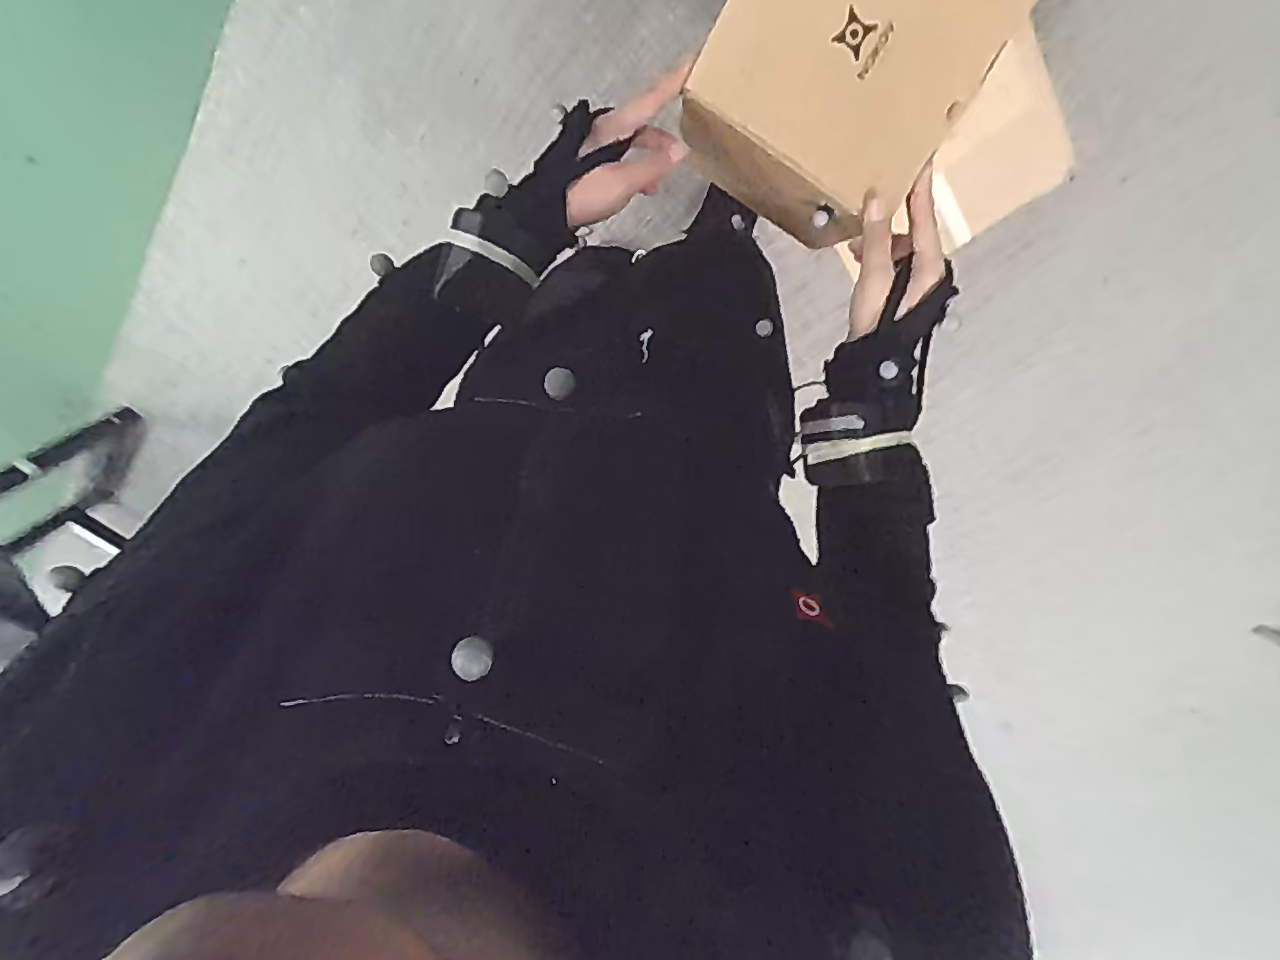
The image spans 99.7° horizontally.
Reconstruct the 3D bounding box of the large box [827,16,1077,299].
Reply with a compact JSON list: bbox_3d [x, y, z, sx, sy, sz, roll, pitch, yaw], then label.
[{"bbox_3d":[0.391,-0.584,0.866,0.320,0.320,0.408,-29,116,28],"label":"large box"}]

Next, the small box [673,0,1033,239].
[{"bbox_3d":[0.139,-0.313,0.428,0.179,0.176,0.168,28,105,-10],"label":"small box"}]
